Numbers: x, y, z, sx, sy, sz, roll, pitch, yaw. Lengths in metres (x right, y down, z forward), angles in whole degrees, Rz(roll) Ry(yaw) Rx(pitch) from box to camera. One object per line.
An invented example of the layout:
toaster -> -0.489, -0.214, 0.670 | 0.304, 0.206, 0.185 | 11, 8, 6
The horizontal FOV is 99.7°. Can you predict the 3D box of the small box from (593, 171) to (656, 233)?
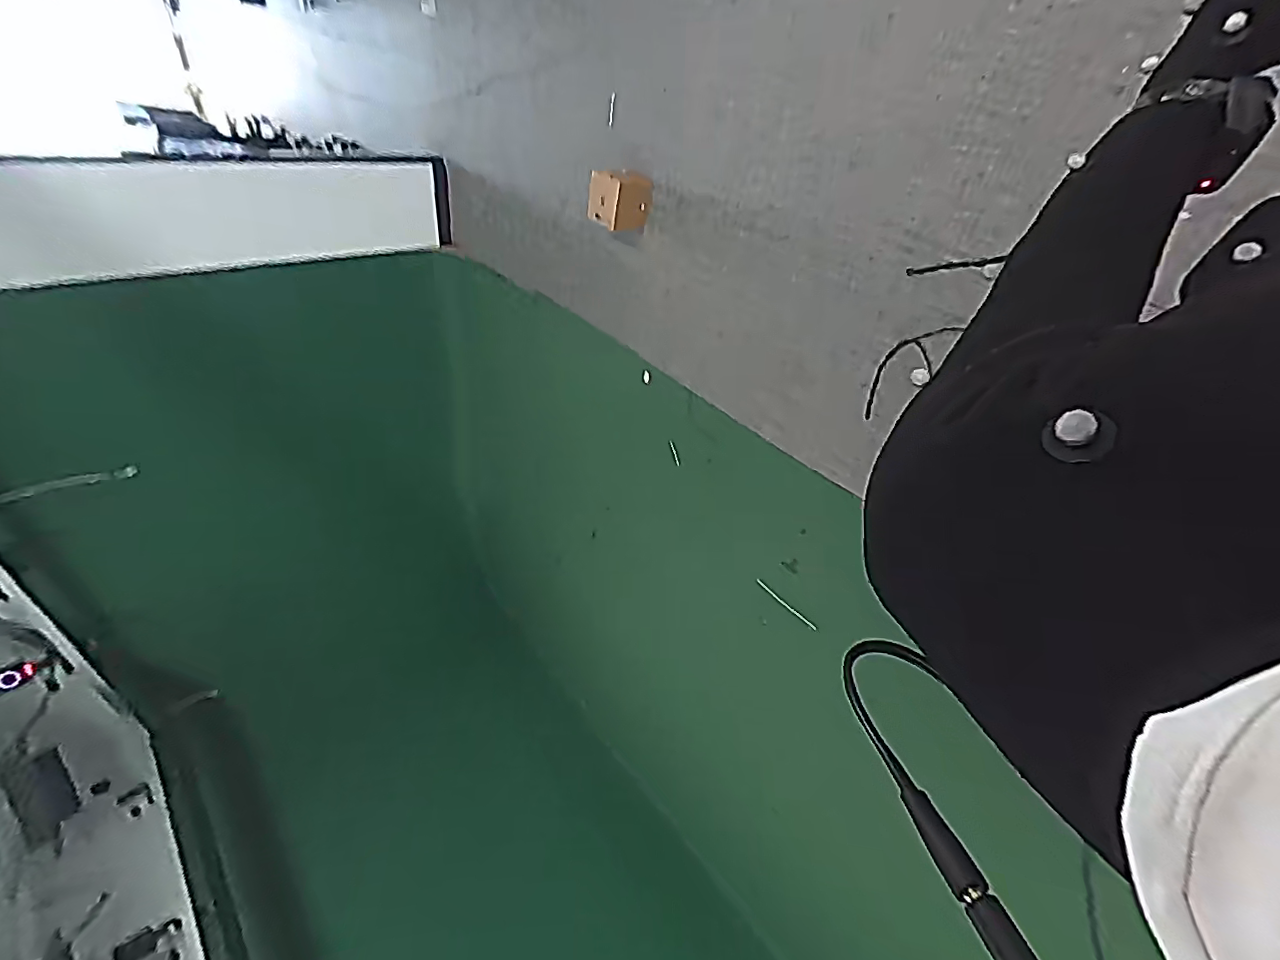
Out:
small box -> -0.058, -1.088, 2.111 | 0.168, 0.176, 0.179 | 42, 138, 29
